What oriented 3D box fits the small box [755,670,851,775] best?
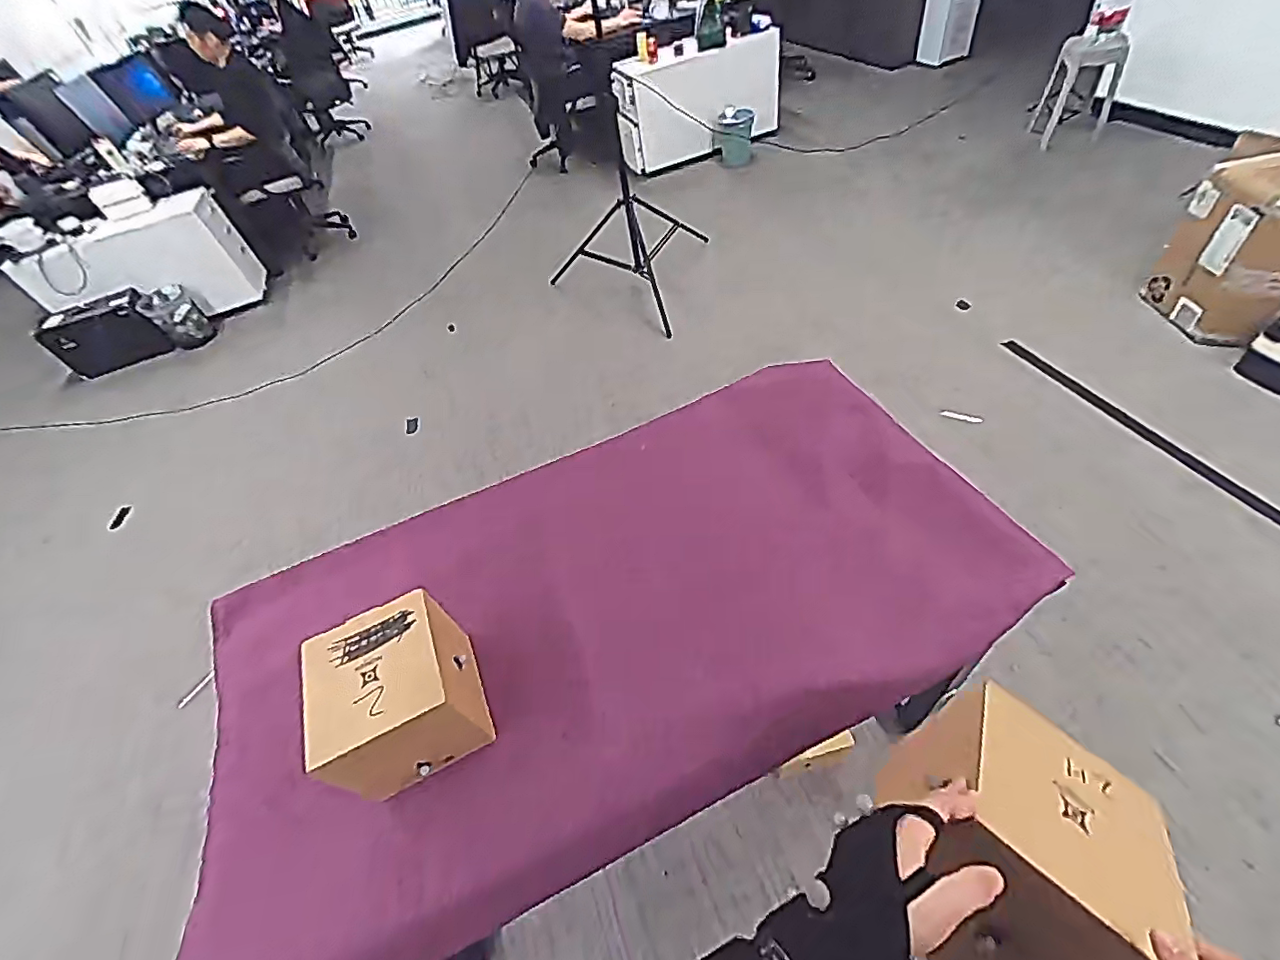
[{"bbox_3d":[0.385,0.587,1.297,0.168,0.176,0.179,-16,48,-1],"label":"small box"}]

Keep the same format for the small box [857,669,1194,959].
[{"bbox_3d":[0.325,0.320,0.490,0.168,0.176,0.179,37,37,16],"label":"small box"}]
